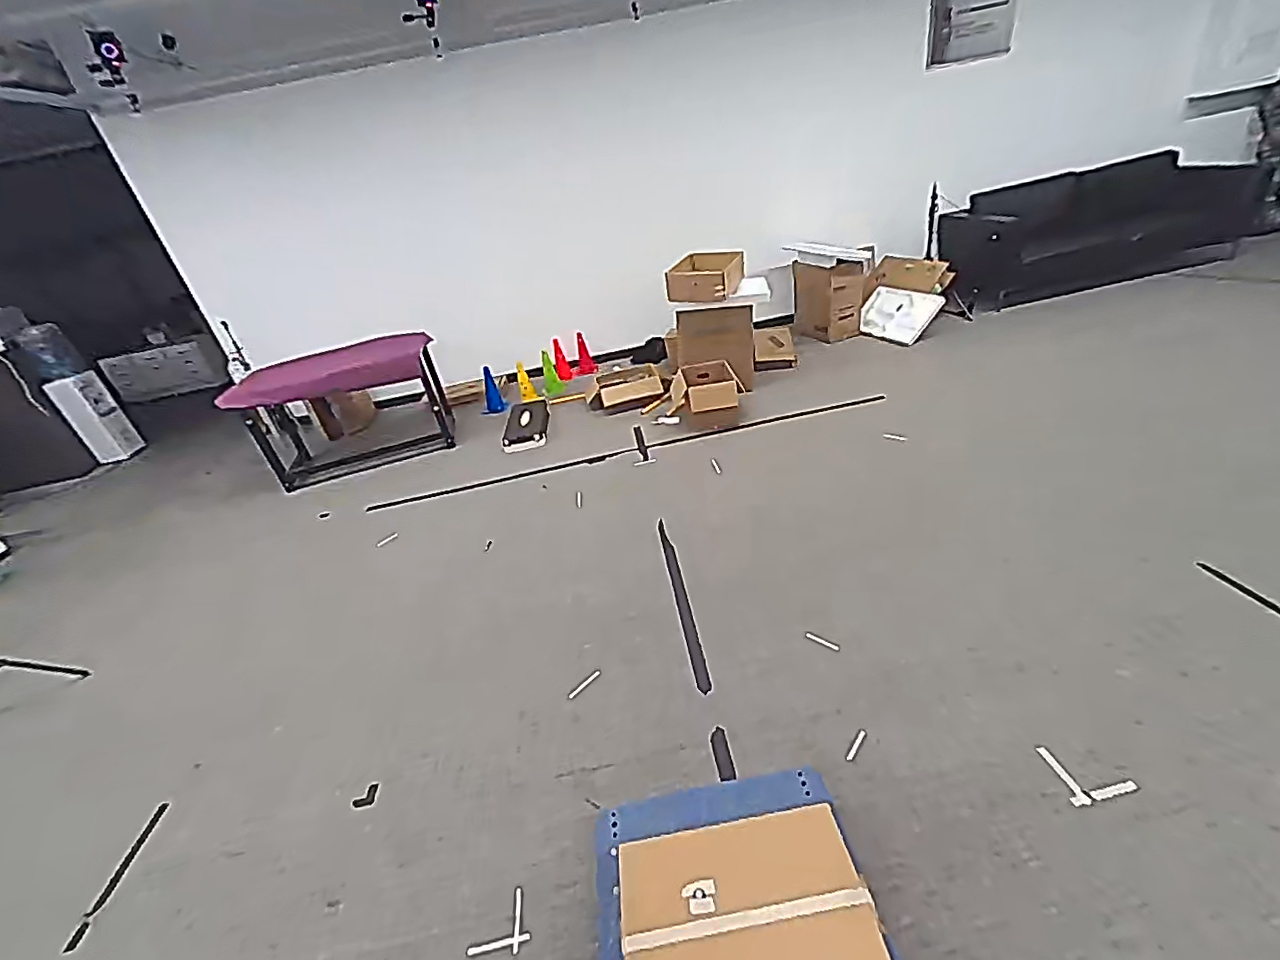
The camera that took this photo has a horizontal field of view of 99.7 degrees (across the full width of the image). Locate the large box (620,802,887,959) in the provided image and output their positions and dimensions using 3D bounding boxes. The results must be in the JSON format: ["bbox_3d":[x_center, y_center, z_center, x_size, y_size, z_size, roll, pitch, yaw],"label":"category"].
[{"bbox_3d":[0.201,0.855,0.973,0.408,0.320,0.320,-12,29,0],"label":"large box"}]
